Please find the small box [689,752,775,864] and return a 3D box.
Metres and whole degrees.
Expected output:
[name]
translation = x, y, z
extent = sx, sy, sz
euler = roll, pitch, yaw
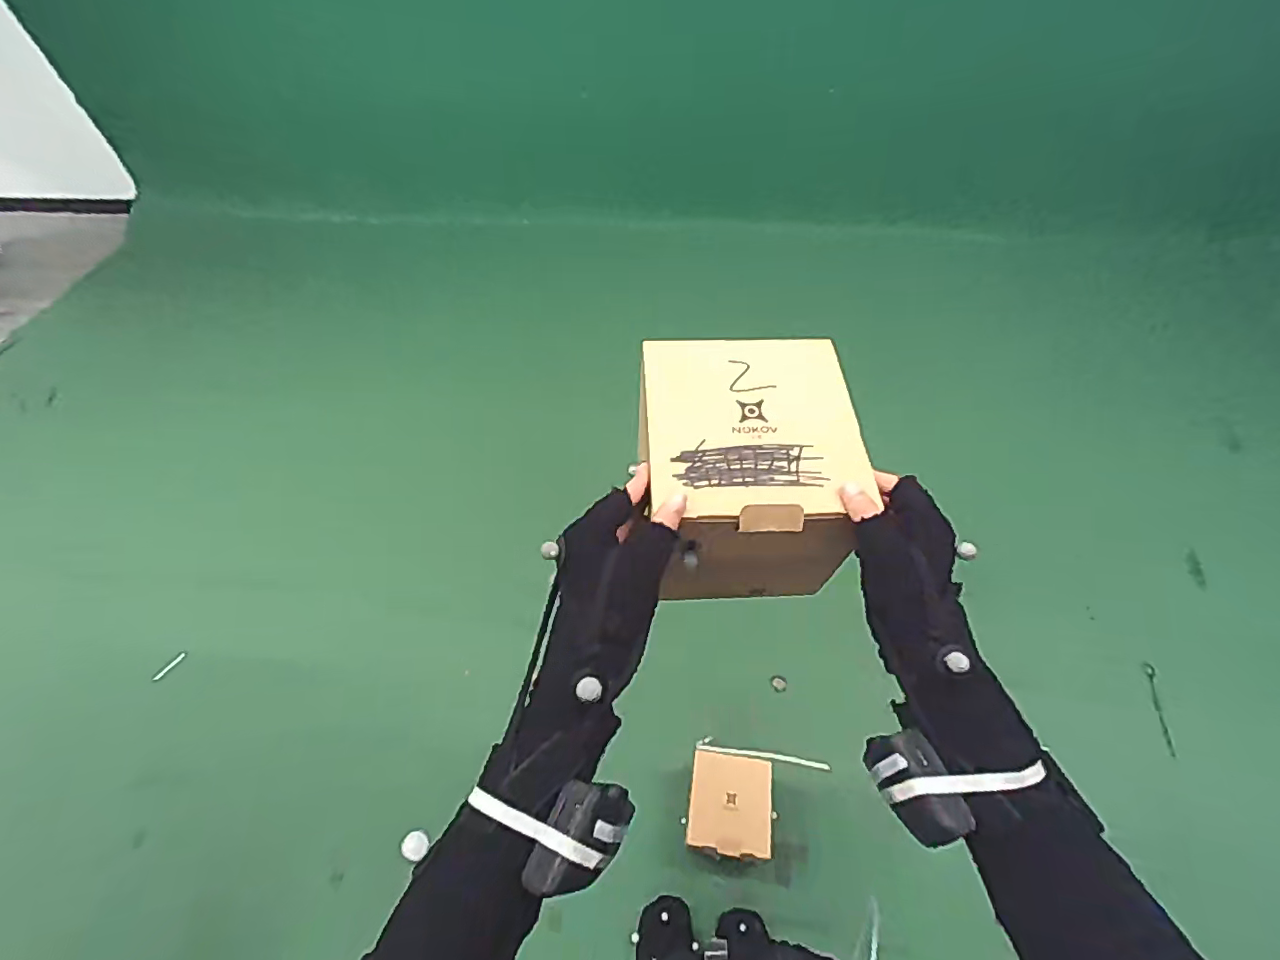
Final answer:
[small box]
translation = 0.197, 0.715, 1.177
extent = 0.168, 0.176, 0.179
euler = 5, 54, 7
